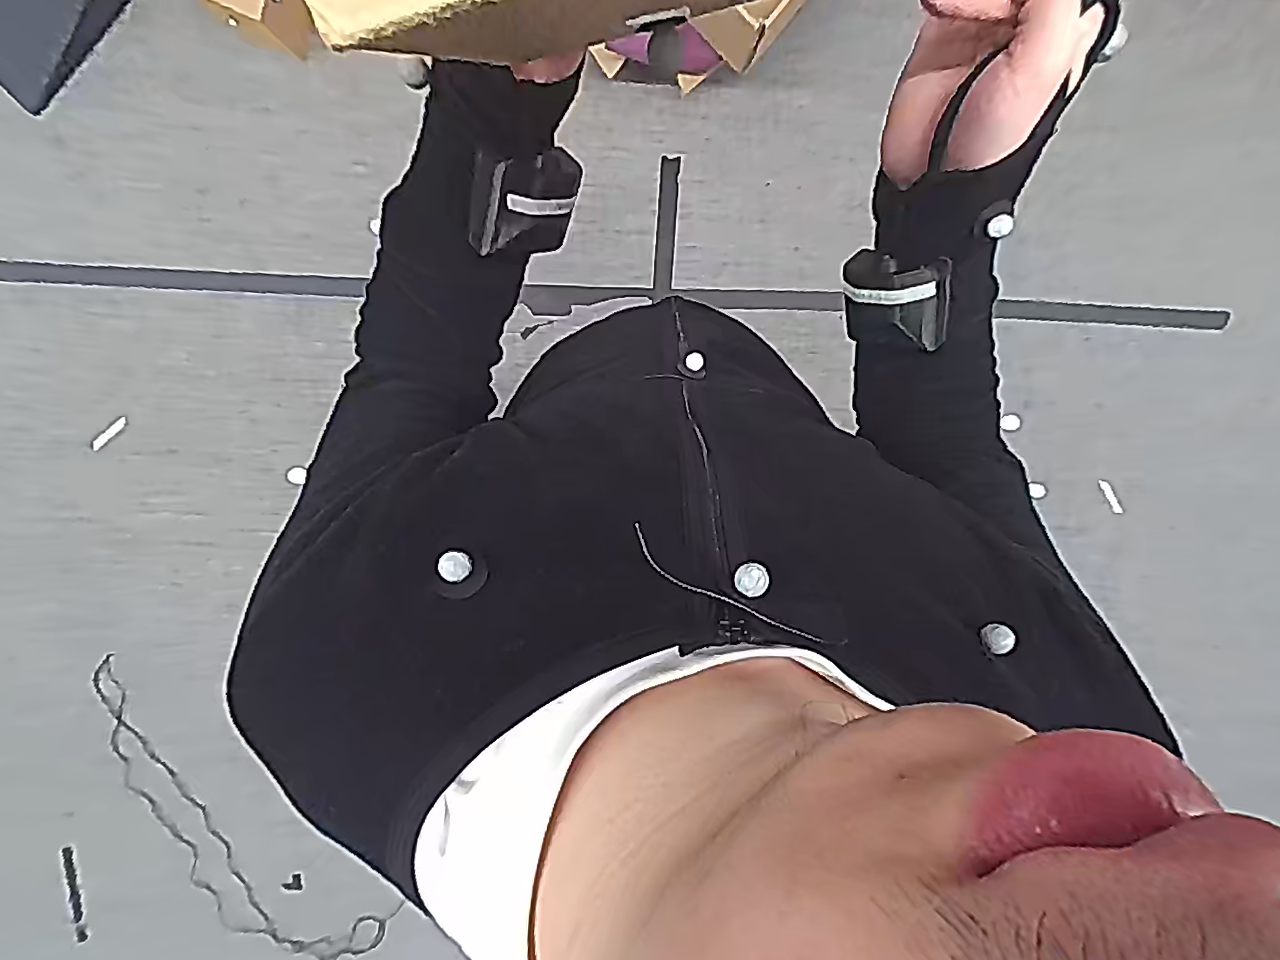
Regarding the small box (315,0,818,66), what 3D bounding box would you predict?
[{"bbox_3d":[-0.005,-0.233,0.139,0.168,0.176,0.179,-5,125,12],"label":"small box"}]
